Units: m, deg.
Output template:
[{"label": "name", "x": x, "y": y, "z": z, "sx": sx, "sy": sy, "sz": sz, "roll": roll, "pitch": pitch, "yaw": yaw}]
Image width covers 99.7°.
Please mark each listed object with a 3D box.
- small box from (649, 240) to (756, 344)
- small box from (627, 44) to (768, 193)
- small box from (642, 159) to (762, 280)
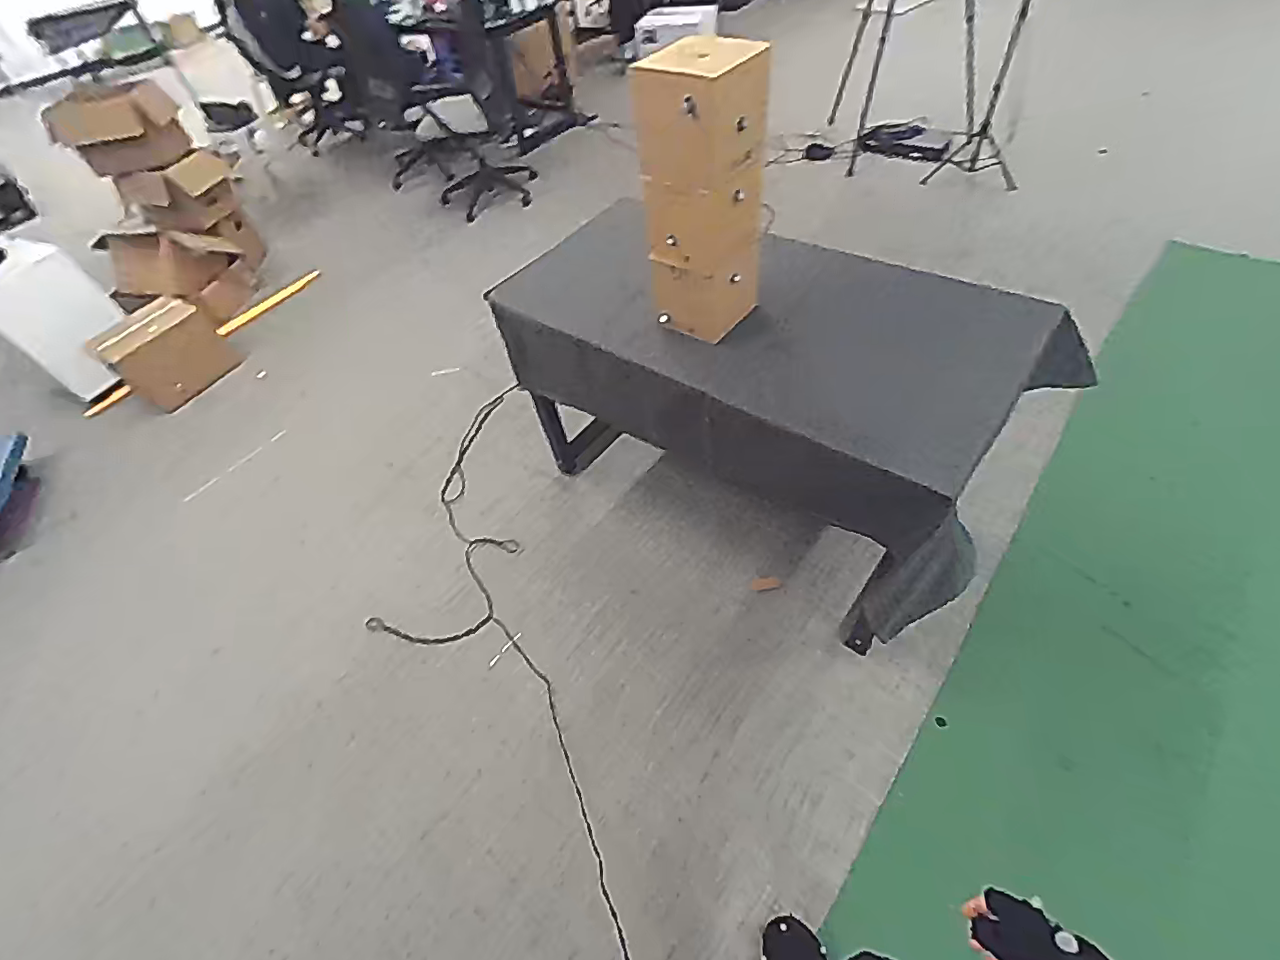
[{"label": "small box", "x": 0.144, "y": -0.432, "z": 1.206, "sx": 0.168, "sy": 0.176, "sz": 0.179, "roll": 29, "pitch": 60, "yaw": 28}, {"label": "small box", "x": 0.103, "y": -0.632, "z": 0.951, "sx": 0.179, "sy": 0.176, "sz": 0.168, "roll": 31, "pitch": 62, "yaw": 29}, {"label": "small box", "x": 0.124, "y": -0.532, "z": 1.080, "sx": 0.168, "sy": 0.176, "sz": 0.179, "roll": 30, "pitch": 62, "yaw": 28}]
